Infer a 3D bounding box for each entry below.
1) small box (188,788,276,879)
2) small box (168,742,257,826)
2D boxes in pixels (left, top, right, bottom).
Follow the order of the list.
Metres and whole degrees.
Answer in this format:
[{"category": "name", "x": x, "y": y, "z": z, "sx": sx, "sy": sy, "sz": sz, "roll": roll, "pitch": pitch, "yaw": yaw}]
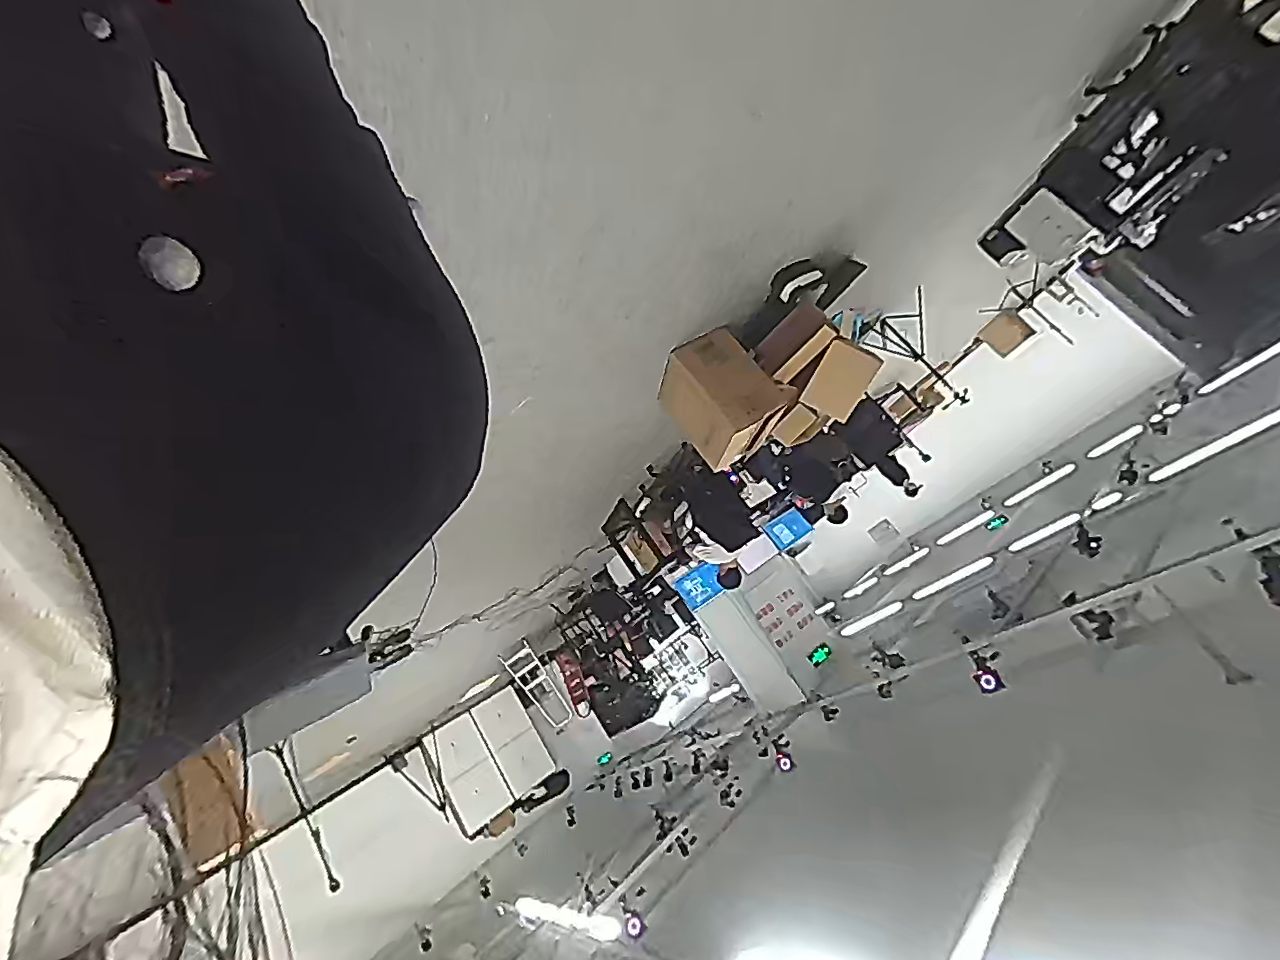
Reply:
[{"category": "small box", "x": -1.289, "y": 1.113, "z": 1.708, "sx": 0.179, "sy": 0.176, "sz": 0.168, "roll": -24, "pitch": 161, "yaw": -34}, {"category": "small box", "x": -1.382, "y": 0.984, "z": 1.748, "sx": 0.179, "sy": 0.176, "sz": 0.168, "roll": -26, "pitch": 162, "yaw": -35}]
